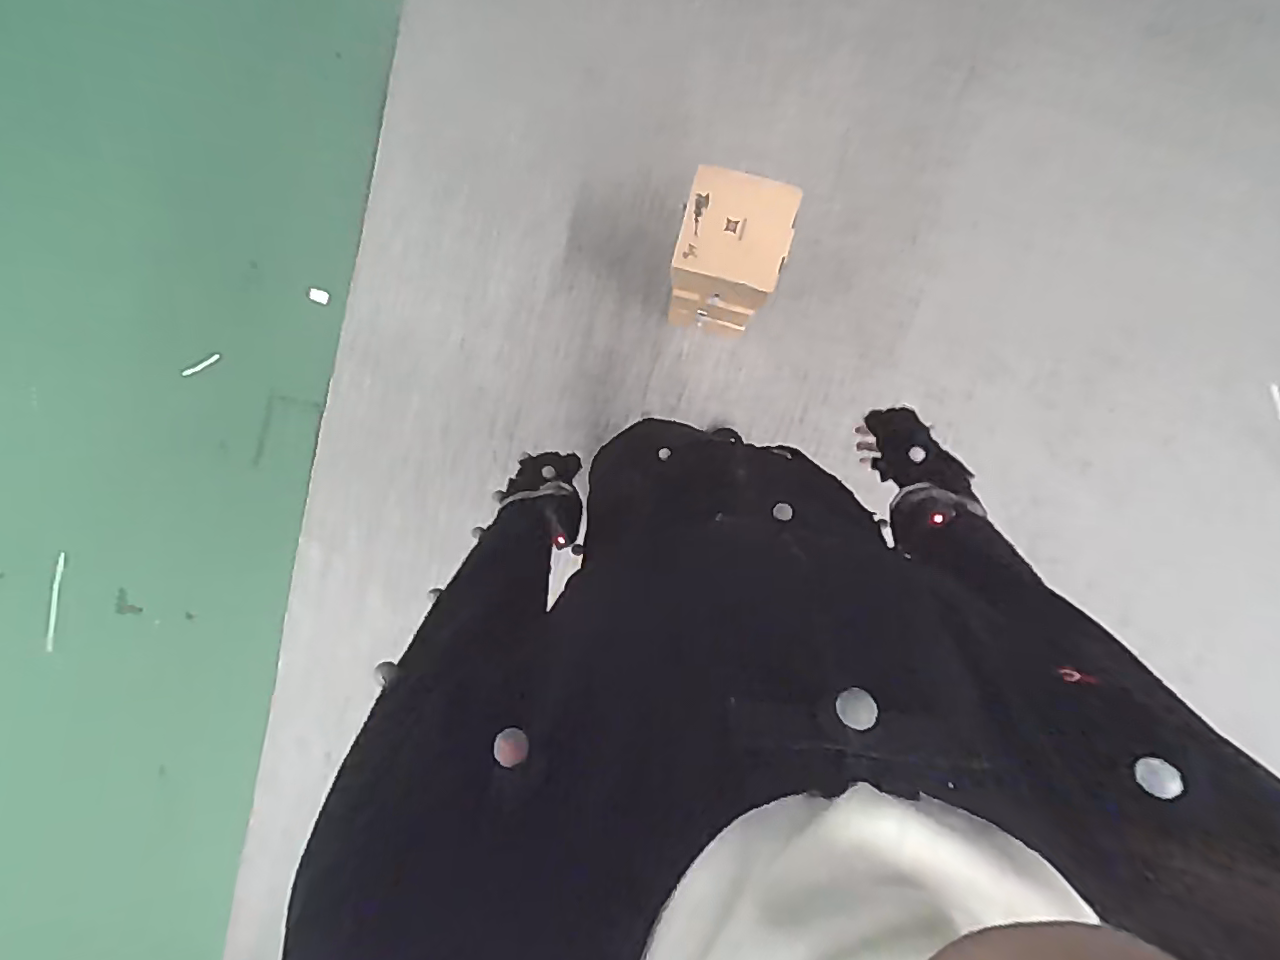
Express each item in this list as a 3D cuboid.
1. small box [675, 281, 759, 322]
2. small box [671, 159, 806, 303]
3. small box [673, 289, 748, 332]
[{"bbox_3d":[0.174,-0.438,1.104,0.168,0.176,0.179,17,101,3],"label":"small box"},{"bbox_3d":[0.162,-0.418,0.942,0.179,0.176,0.168,17,100,2],"label":"small box"},{"bbox_3d":[0.183,-0.454,1.264,0.179,0.176,0.168,18,100,0],"label":"small box"}]
